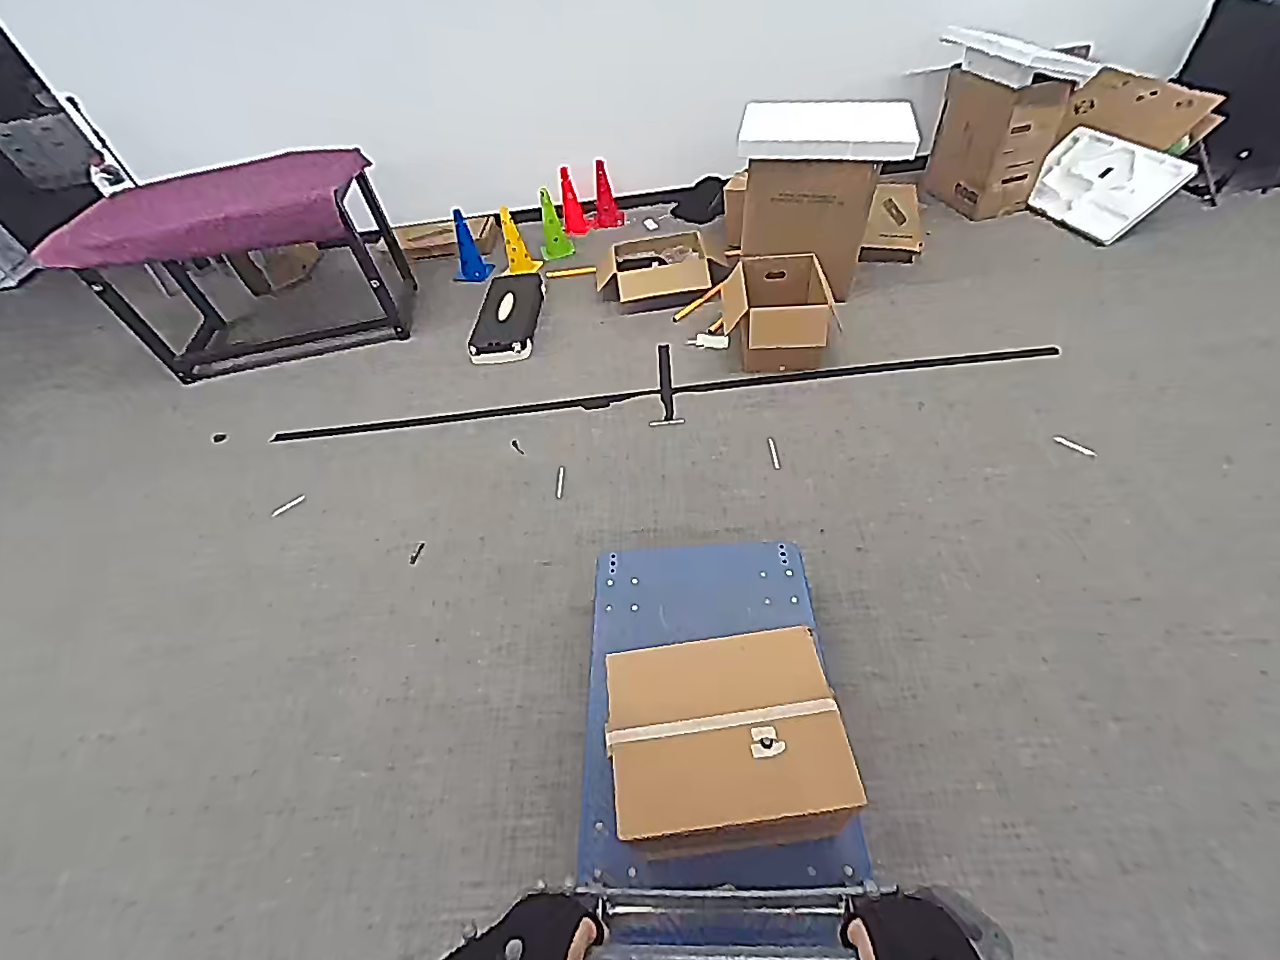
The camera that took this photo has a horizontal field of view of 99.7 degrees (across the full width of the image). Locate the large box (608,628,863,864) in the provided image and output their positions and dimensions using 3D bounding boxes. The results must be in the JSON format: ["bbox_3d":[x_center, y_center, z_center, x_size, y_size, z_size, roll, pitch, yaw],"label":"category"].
[{"bbox_3d":[0.164,0.537,1.084,0.408,0.320,0.320,-9,49,0],"label":"large box"}]
